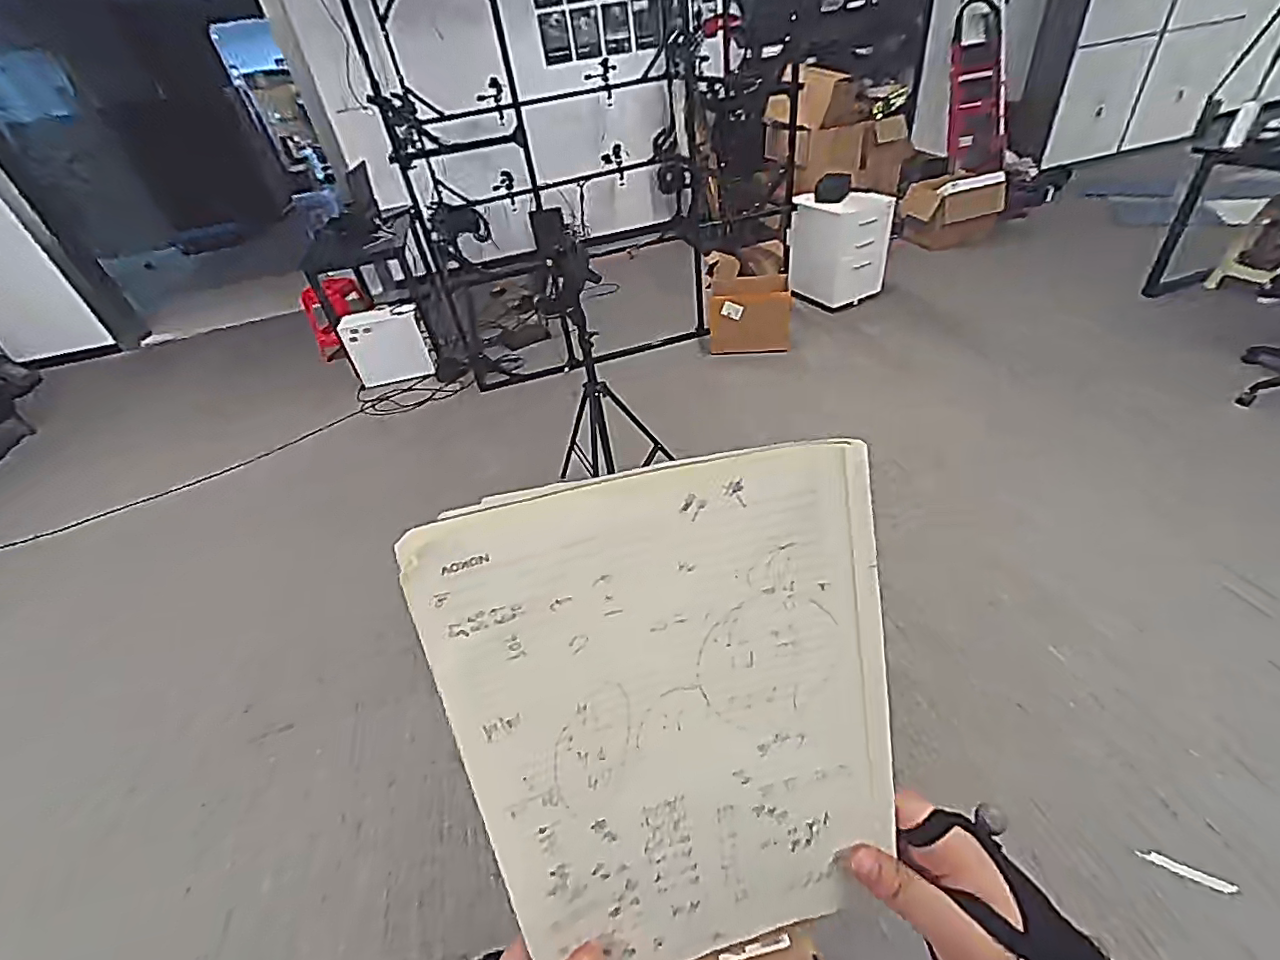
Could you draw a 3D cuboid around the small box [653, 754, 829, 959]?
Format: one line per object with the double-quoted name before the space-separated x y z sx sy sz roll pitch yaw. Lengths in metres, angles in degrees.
"small box" 0.112 0.481 0.679 0.168 0.176 0.179 -10 41 -5
